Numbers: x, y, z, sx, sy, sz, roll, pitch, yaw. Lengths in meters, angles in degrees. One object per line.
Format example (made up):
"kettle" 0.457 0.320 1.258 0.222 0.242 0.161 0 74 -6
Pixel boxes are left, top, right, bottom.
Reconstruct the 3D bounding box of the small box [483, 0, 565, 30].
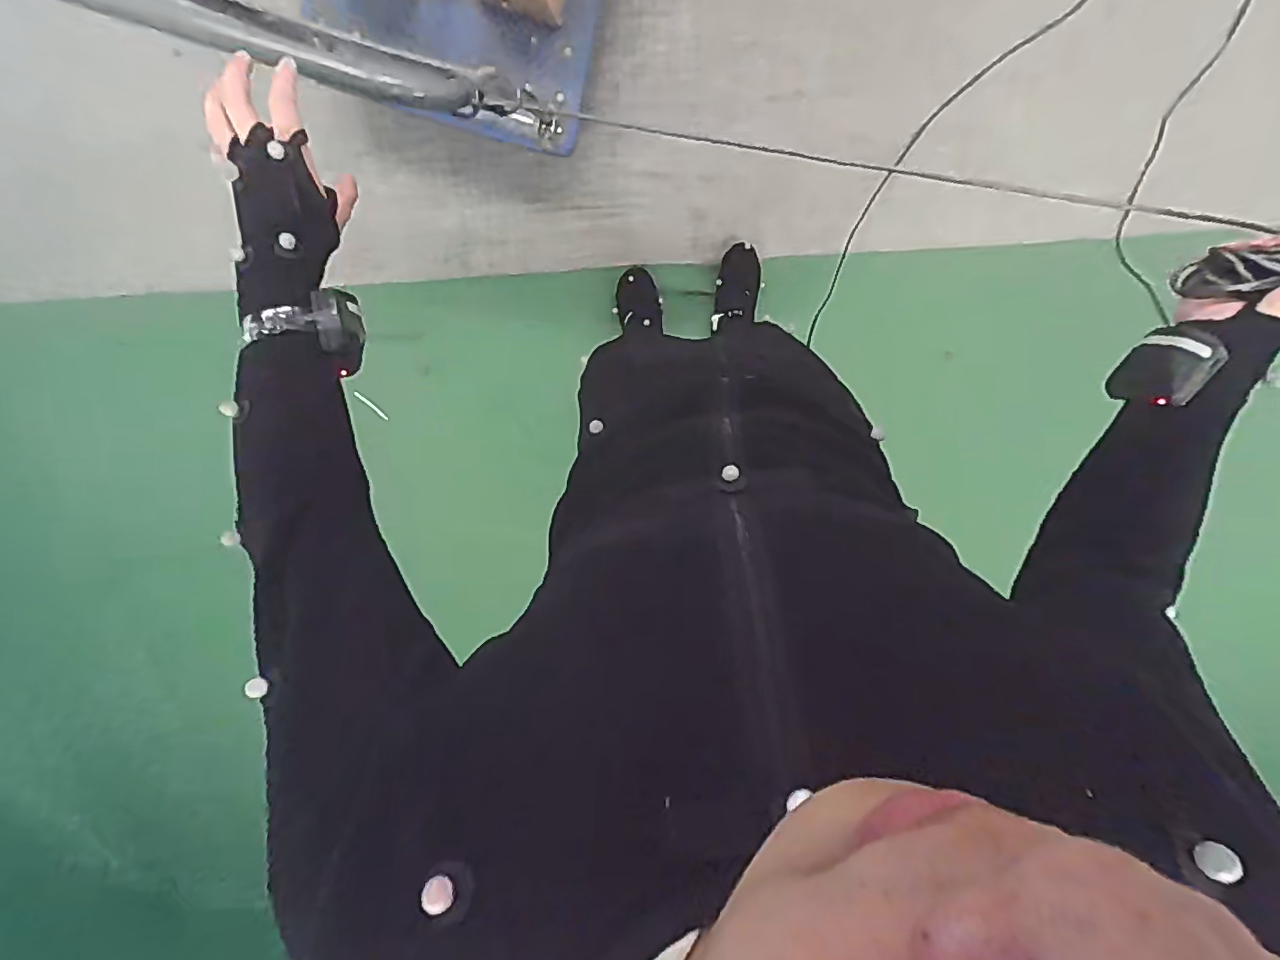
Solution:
"small box" -0.215 -0.950 0.956 0.168 0.176 0.179 15 116 -6
